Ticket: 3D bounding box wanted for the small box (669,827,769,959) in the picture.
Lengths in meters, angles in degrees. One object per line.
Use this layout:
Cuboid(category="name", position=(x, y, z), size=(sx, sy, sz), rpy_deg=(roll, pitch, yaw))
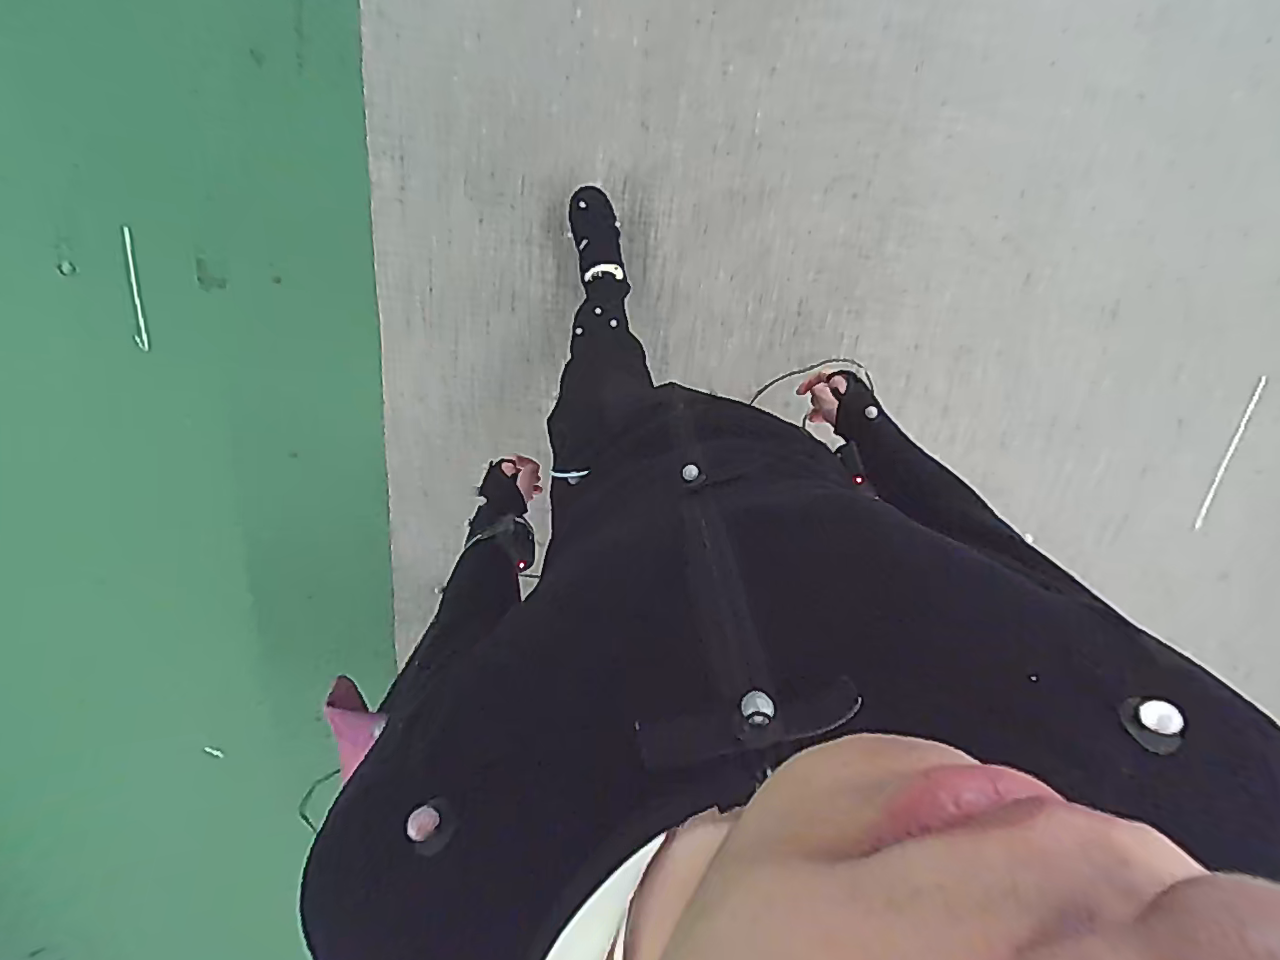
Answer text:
Cuboid(category="small box", position=(0.143, 0.811, 1.051), size=(0.168, 0.176, 0.179), rpy_deg=(1, 109, 0))
